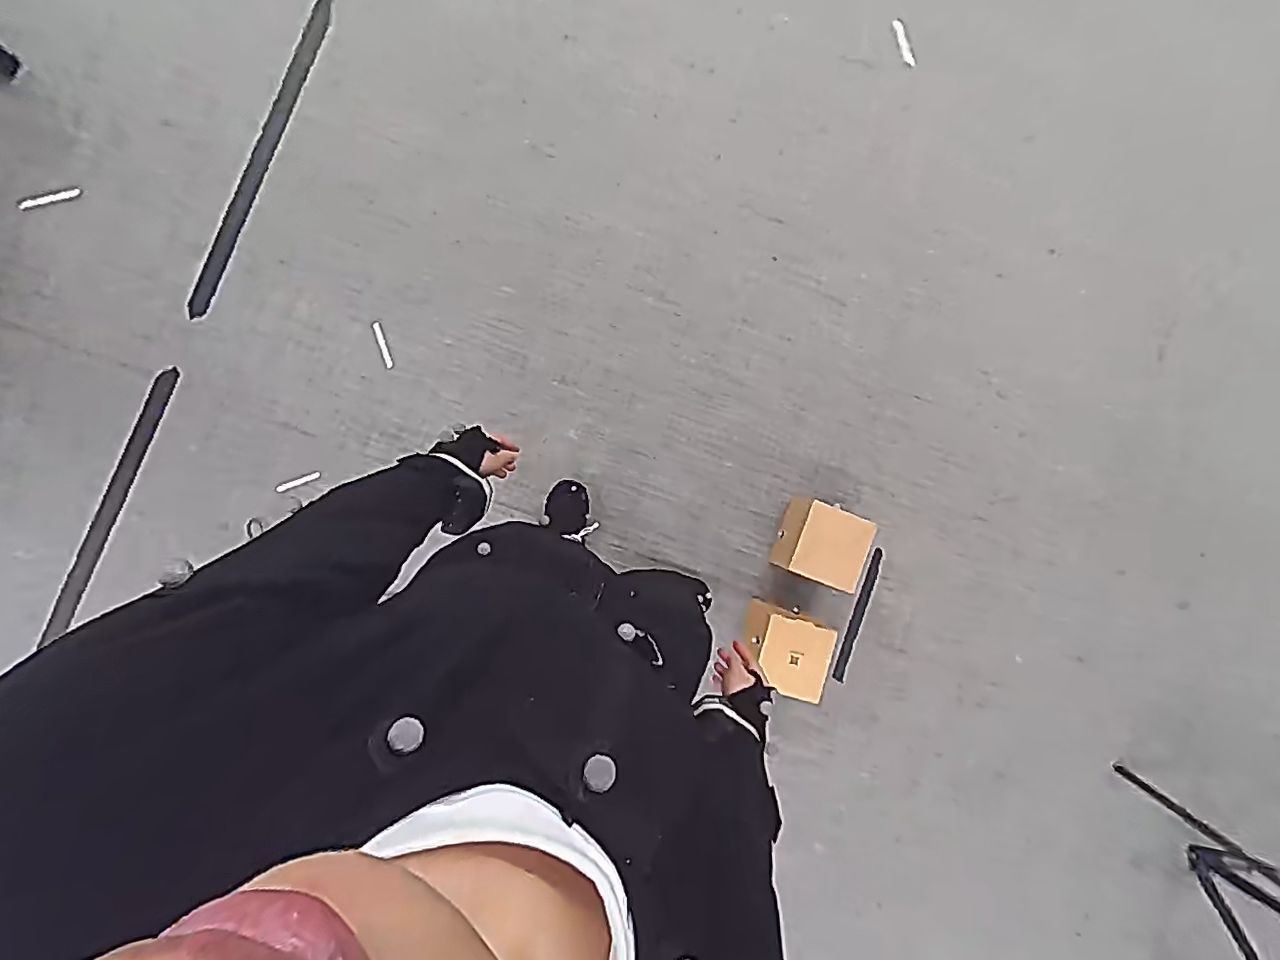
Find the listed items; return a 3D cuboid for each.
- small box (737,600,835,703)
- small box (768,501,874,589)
[{"bbox_3d":[0.349,0.413,1.326,0.168,0.176,0.179,17,87,-3],"label":"small box"},{"bbox_3d":[0.441,0.159,1.332,0.168,0.176,0.179,22,88,-3],"label":"small box"}]
